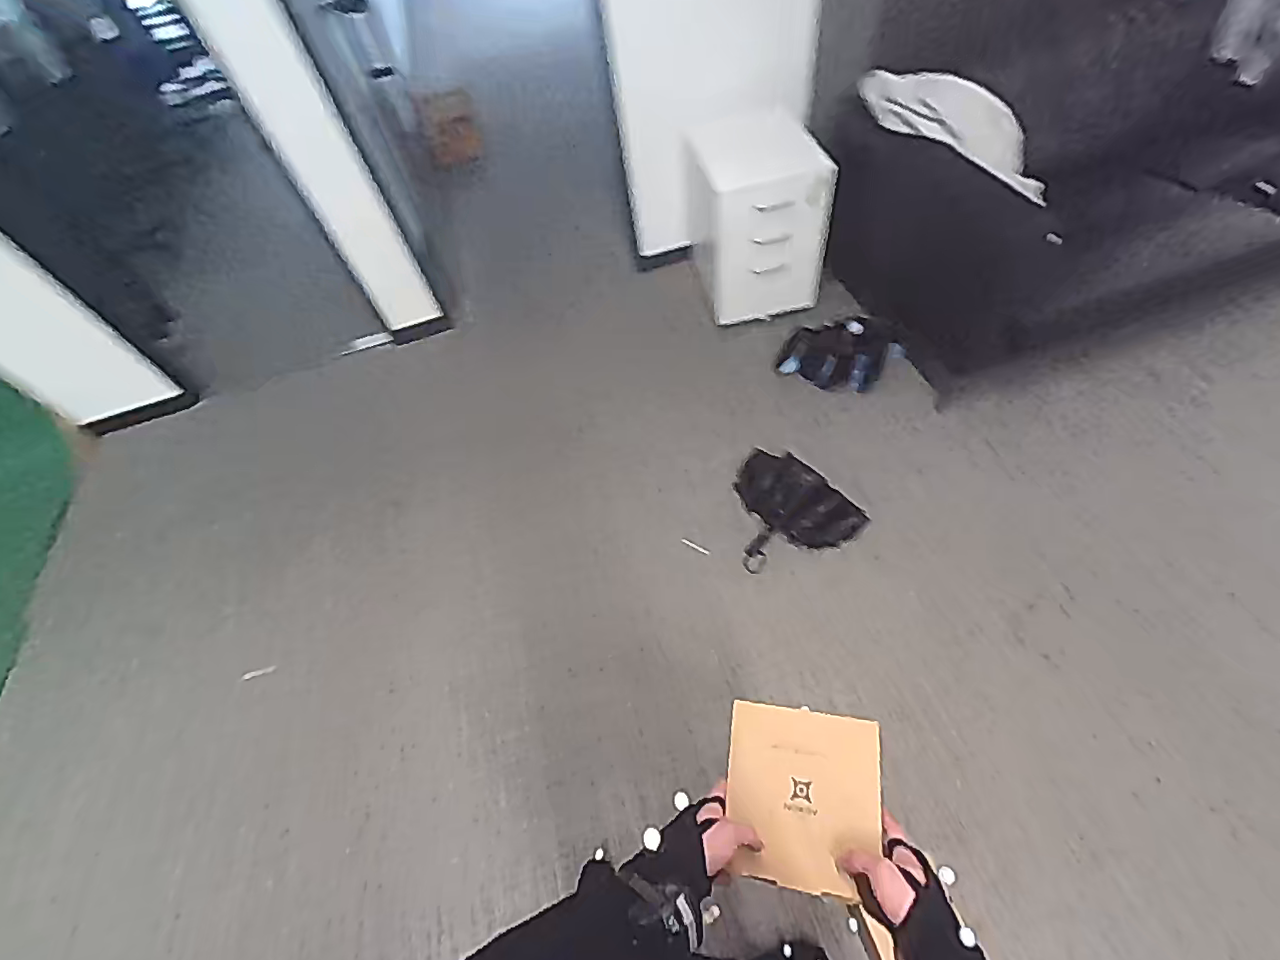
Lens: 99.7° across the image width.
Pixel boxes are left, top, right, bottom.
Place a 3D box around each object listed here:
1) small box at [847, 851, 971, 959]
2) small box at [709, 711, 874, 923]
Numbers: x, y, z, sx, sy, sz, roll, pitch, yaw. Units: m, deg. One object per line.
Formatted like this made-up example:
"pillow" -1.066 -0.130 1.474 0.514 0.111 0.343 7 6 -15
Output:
"small box" 0.517 0.873 1.098 0.179 0.176 0.168 -18 55 -2
"small box" 0.176 0.387 0.650 0.168 0.176 0.179 3 63 12
